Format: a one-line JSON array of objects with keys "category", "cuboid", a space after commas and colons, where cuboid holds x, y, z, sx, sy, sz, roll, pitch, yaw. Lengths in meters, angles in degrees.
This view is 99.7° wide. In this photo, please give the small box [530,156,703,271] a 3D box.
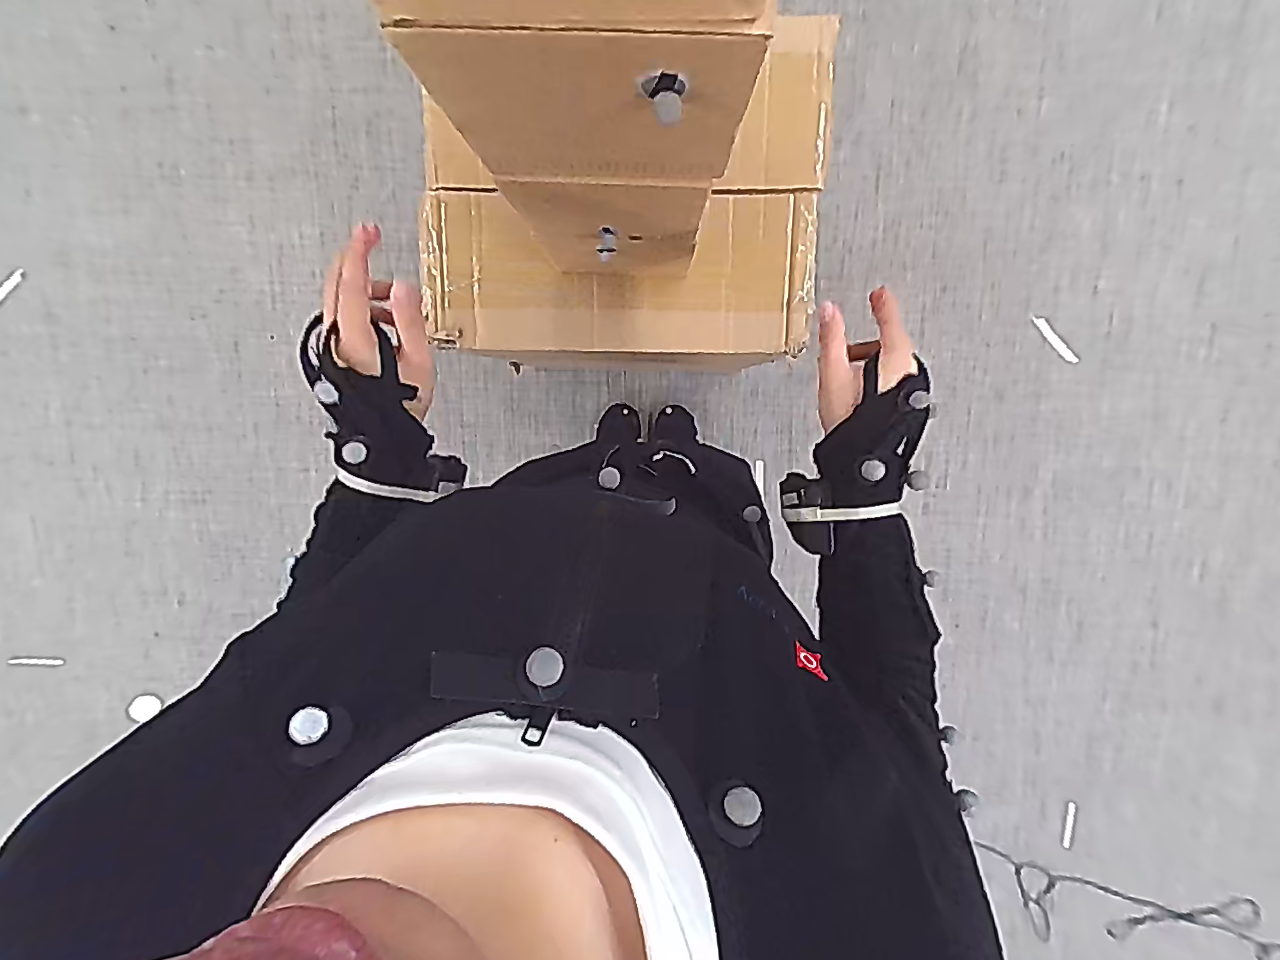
[{"category": "small box", "cuboid": [-0.021, -0.345, 0.622, 0.179, 0.176, 0.168, 3, 100, 1]}]

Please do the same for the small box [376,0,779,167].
[{"category": "small box", "cuboid": [-0.023, -0.294, 0.297, 0.179, 0.176, 0.168, 2, 99, 1]}]
